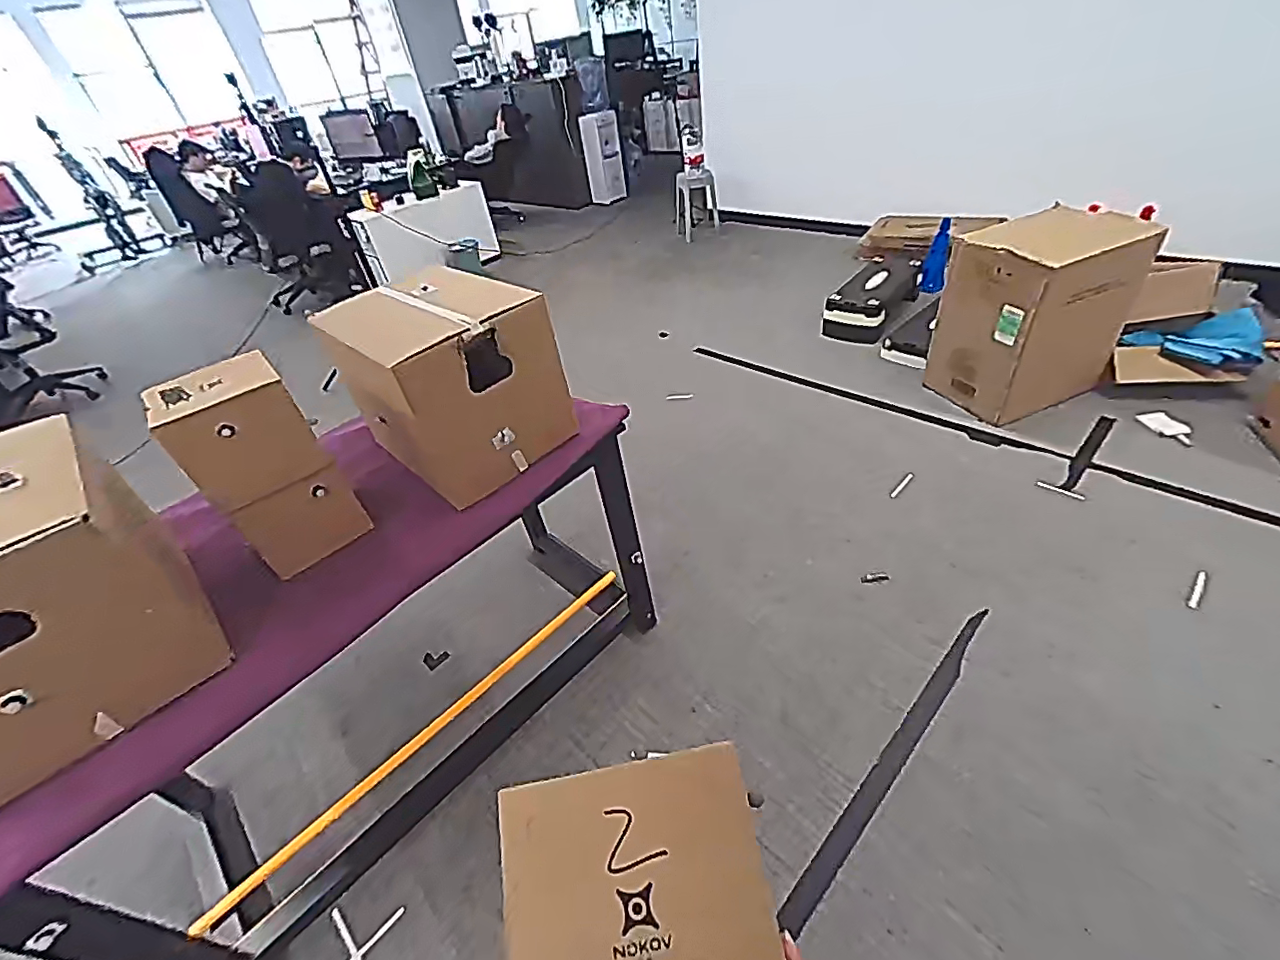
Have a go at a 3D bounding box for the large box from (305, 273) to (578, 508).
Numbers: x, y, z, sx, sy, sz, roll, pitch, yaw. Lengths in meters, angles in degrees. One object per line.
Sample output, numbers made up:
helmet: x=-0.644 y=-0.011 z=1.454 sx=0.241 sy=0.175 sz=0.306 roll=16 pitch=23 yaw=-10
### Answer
large box: x=-0.395 y=-0.202 z=1.118 sx=0.408 sy=0.320 sz=0.320 roll=26 pitch=51 yaw=38
